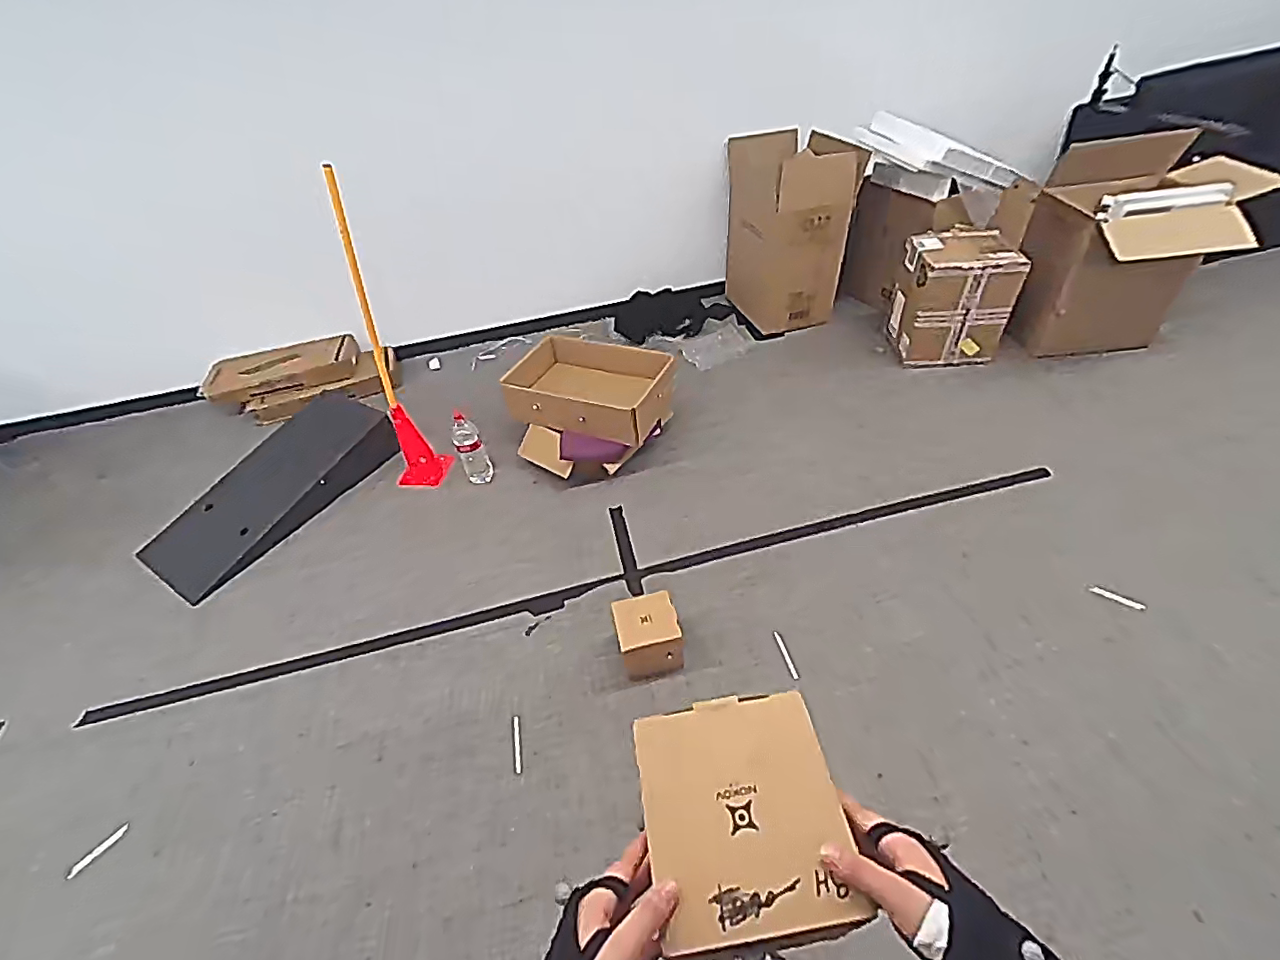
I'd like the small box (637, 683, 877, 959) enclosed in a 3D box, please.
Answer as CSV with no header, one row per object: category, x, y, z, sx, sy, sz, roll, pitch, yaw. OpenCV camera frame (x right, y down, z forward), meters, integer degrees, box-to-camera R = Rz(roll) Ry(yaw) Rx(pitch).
small box,0.095,0.326,0.517,0.168,0.176,0.179,-11,44,-1

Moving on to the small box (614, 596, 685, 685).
small box,0.030,0.473,1.592,0.179,0.176,0.168,-14,42,-5
